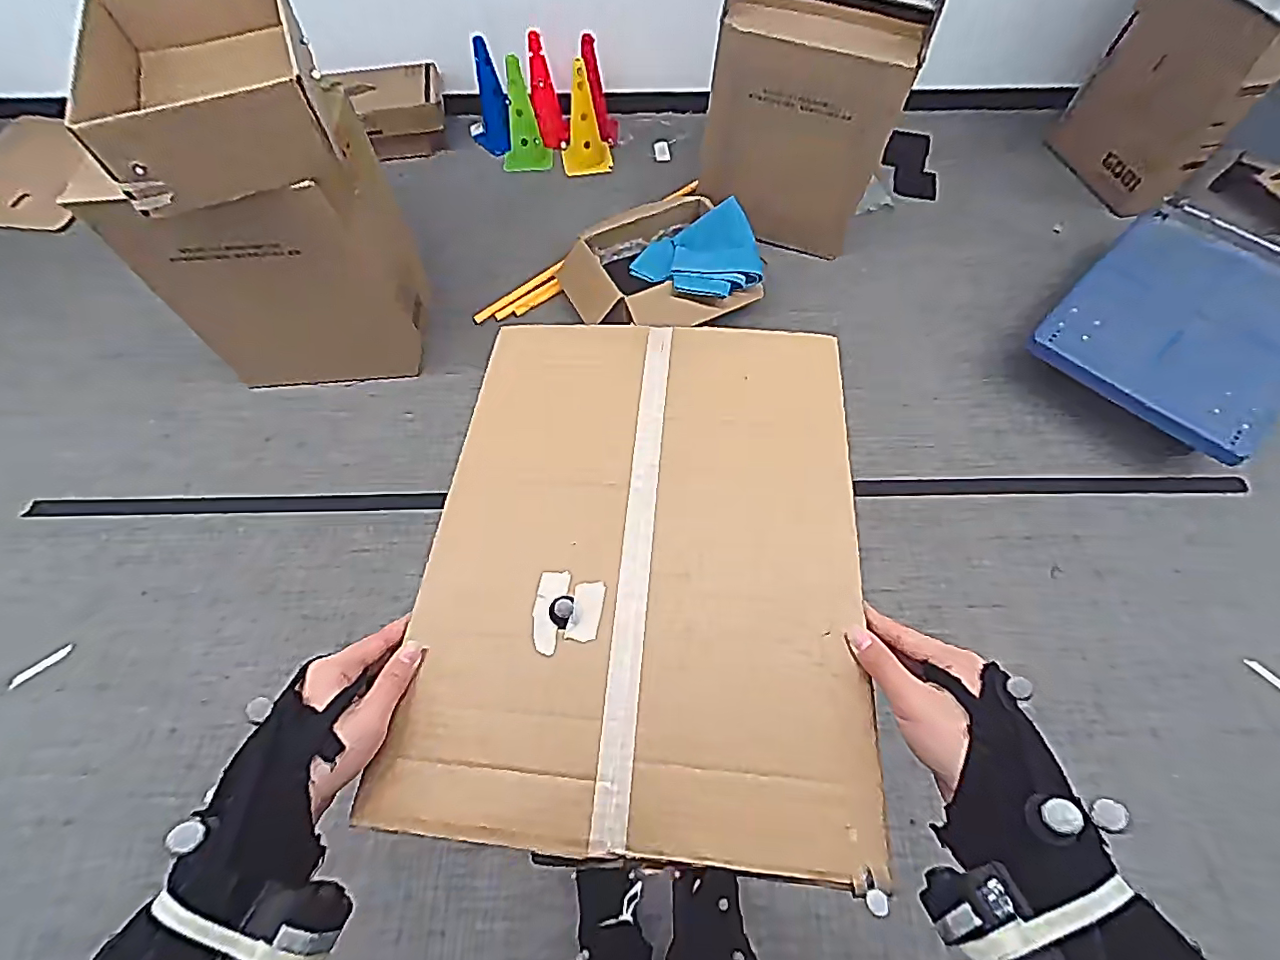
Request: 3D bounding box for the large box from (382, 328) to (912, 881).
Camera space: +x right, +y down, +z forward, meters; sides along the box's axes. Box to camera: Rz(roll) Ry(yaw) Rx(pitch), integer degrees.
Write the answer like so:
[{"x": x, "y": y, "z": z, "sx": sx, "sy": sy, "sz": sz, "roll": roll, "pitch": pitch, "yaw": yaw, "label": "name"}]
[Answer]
[{"x": 0.018, "y": 0.109, "z": 0.530, "sx": 0.320, "sy": 0.320, "sz": 0.408, "roll": 2, "pitch": 61, "yaw": 6, "label": "large box"}]
